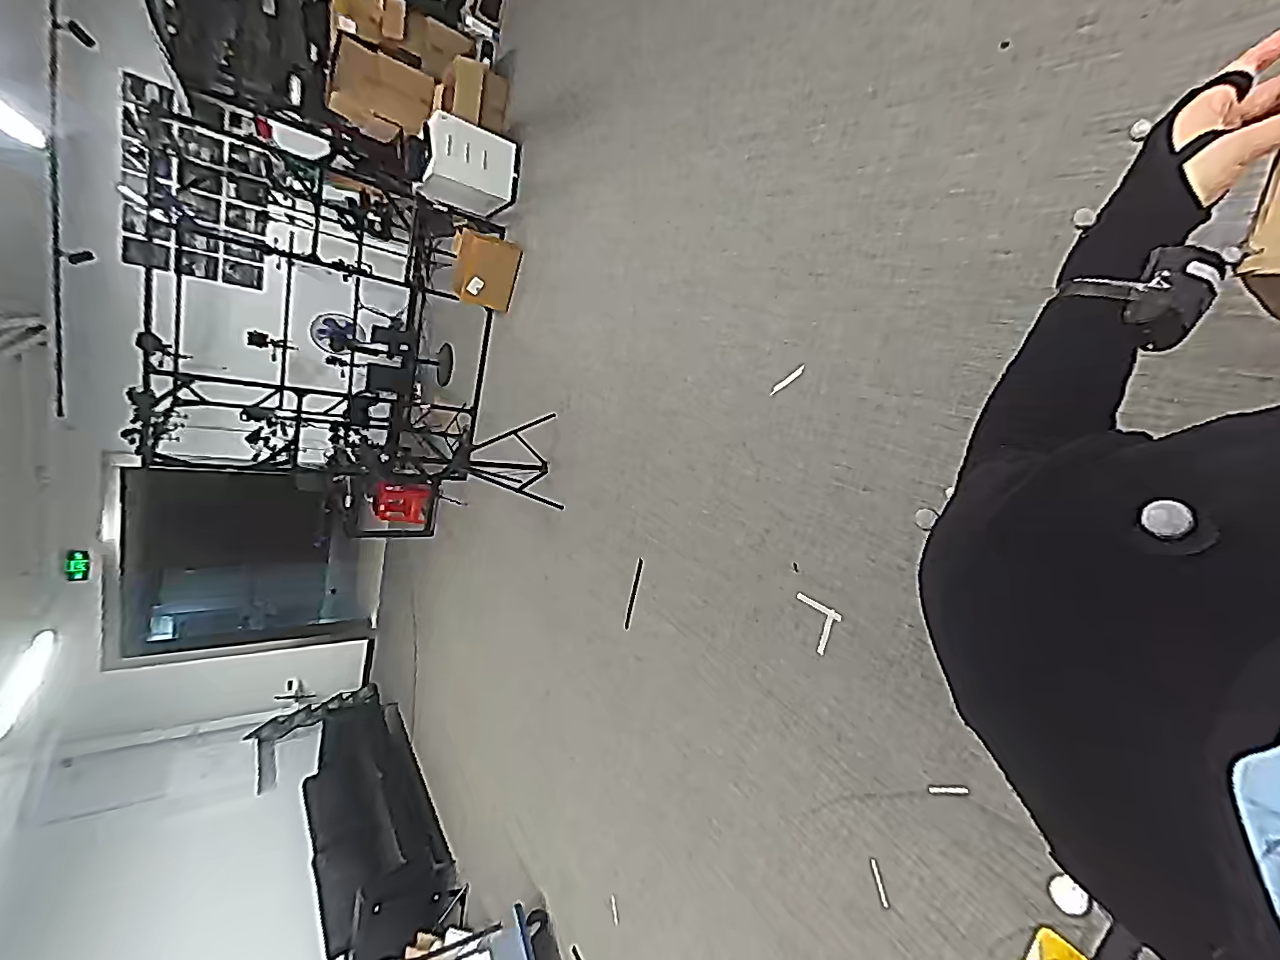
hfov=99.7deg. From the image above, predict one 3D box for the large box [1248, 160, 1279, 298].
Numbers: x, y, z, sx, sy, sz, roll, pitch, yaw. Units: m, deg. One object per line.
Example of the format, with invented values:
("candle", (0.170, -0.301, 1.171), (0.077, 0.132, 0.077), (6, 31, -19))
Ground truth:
("large box", (0.701, -0.263, 0.298), (0.408, 0.320, 0.320), (23, 109, 52))
